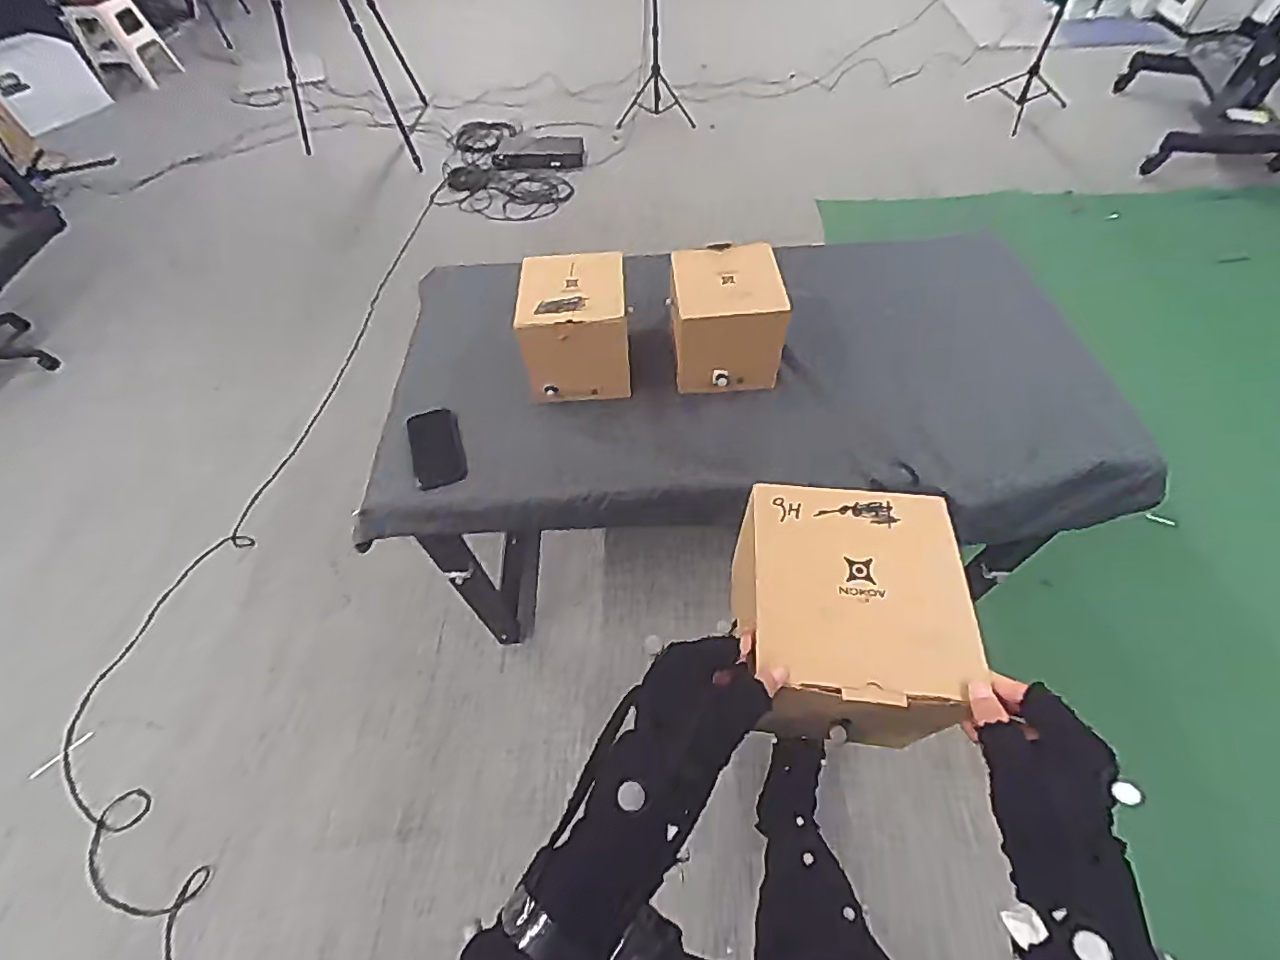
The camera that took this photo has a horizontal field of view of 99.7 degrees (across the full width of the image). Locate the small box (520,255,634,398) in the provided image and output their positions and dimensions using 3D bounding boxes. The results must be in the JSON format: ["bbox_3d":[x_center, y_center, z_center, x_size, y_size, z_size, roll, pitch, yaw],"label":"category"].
[{"bbox_3d":[-0.097,-0.252,0.915,0.168,0.176,0.179,-3,54,1],"label":"small box"}]

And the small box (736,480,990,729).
[{"bbox_3d":[0.184,0.122,0.505,0.168,0.176,0.179,5,56,5],"label":"small box"}]

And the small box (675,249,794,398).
[{"bbox_3d":[0.148,-0.262,0.916,0.168,0.176,0.179,-5,56,1],"label":"small box"}]
